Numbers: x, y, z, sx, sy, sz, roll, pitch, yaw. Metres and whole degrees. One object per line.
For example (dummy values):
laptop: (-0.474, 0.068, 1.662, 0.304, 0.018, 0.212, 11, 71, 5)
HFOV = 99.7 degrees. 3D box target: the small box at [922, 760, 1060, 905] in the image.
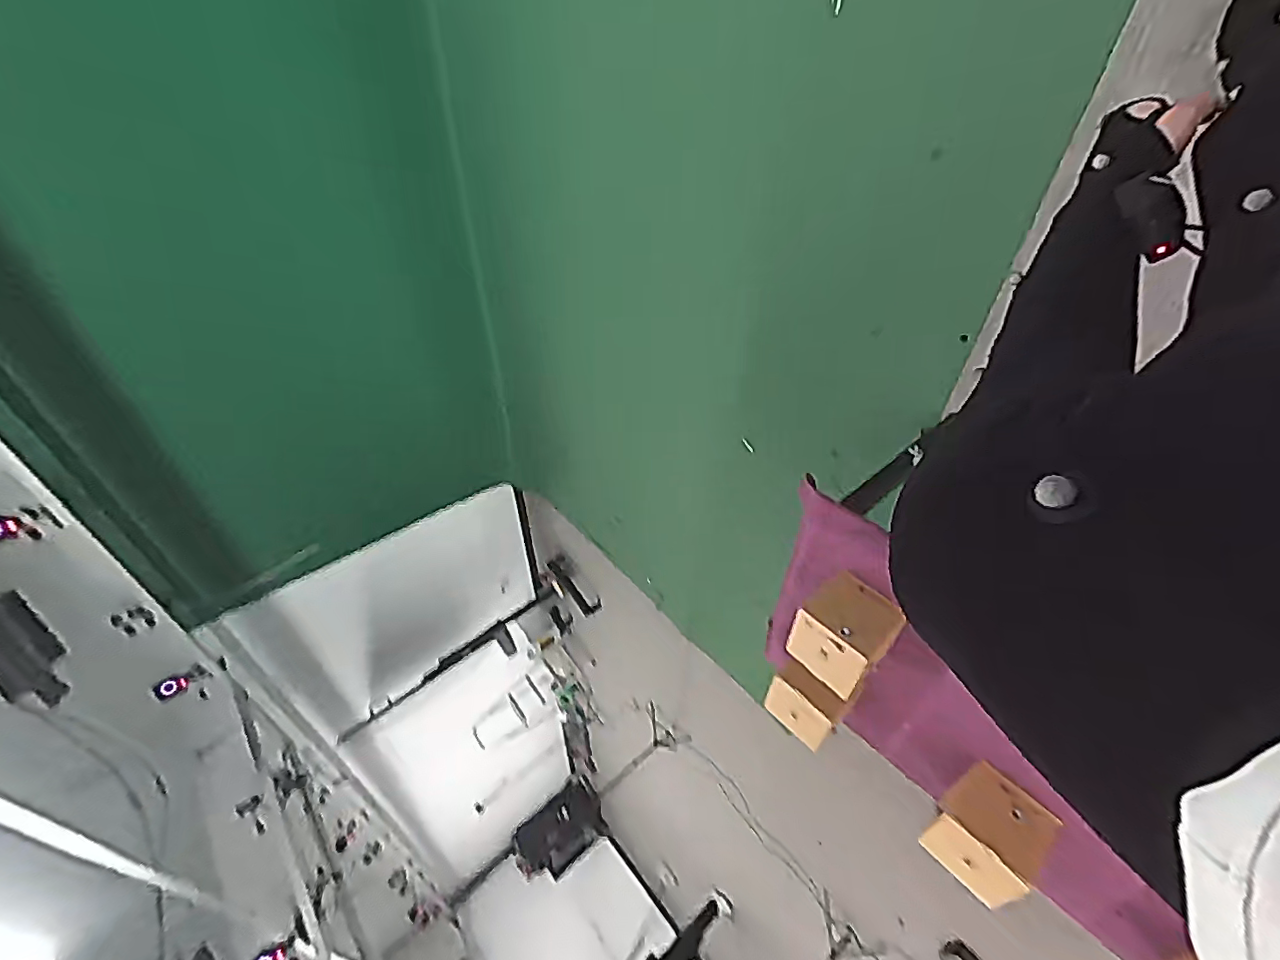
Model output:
small box: (0.745, 0.745, 1.150, 0.168, 0.176, 0.179, 37, 142, 35)

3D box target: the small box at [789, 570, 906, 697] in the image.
small box: (0.465, 0.341, 1.215, 0.168, 0.176, 0.179, 36, 144, 33)

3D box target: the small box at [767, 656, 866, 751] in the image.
small box: (0.459, 0.553, 1.406, 0.168, 0.176, 0.179, 35, 141, 32)
